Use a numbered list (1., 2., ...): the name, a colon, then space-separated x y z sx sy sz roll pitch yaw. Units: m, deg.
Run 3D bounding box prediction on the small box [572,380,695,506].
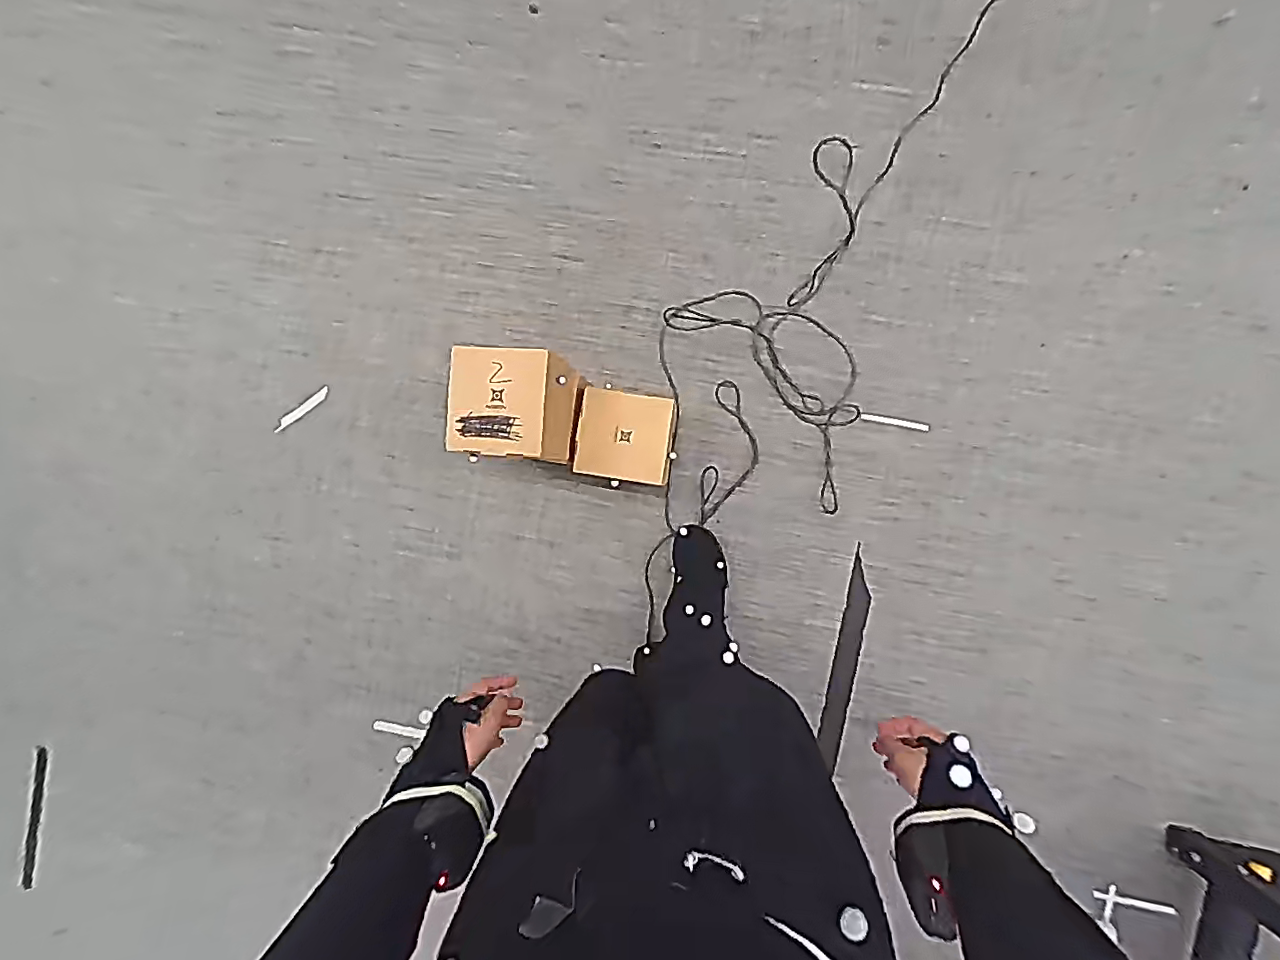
1. small box: -0.013 -0.069 1.027 0.168 0.176 0.179 33 104 -9
